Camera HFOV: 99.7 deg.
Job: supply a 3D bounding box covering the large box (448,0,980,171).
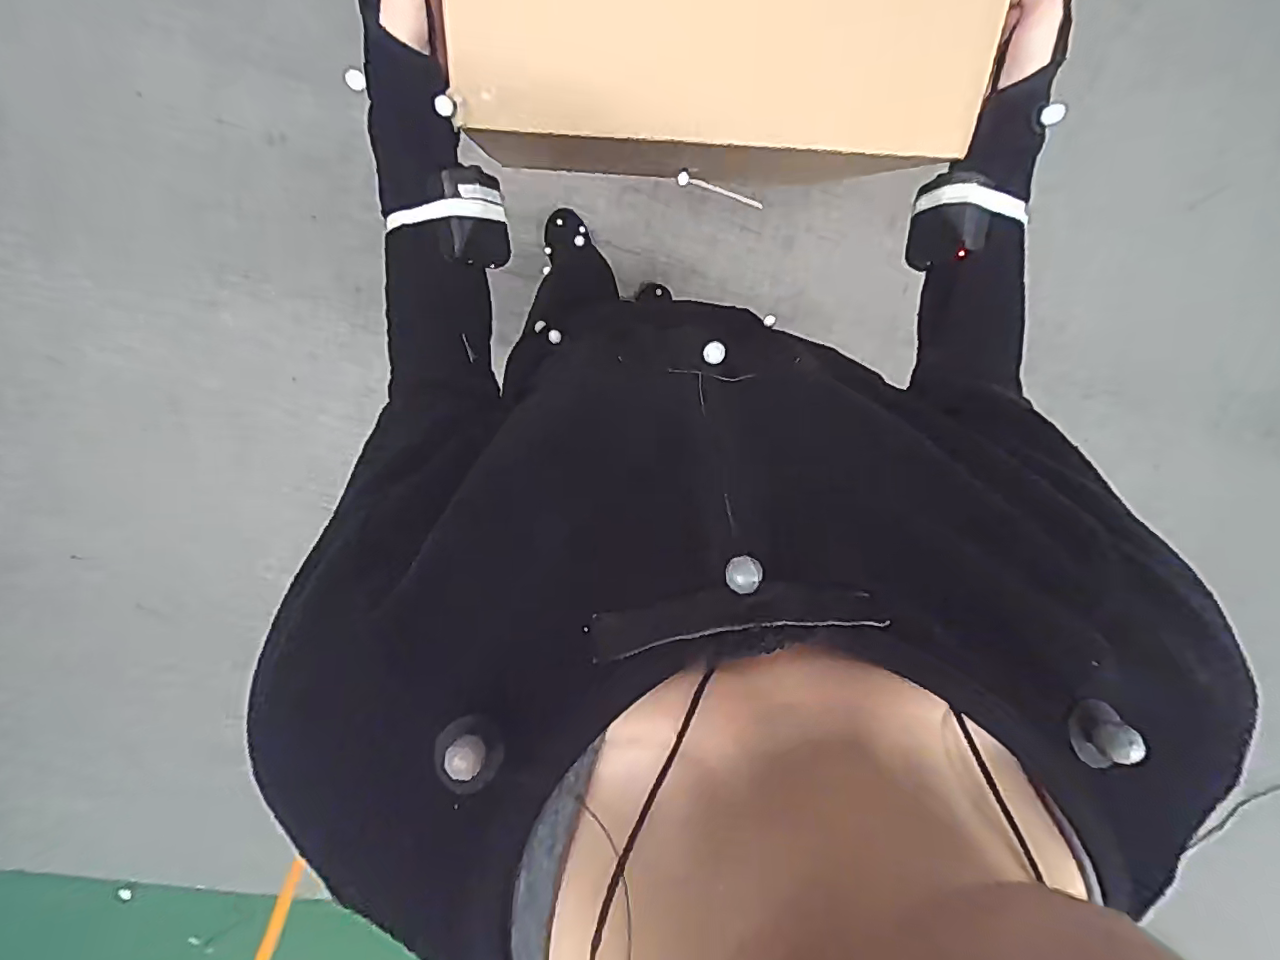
[{"bbox_3d":[0.050,-0.473,0.500,0.408,0.320,0.320,-1,115,-6],"label":"large box"}]
